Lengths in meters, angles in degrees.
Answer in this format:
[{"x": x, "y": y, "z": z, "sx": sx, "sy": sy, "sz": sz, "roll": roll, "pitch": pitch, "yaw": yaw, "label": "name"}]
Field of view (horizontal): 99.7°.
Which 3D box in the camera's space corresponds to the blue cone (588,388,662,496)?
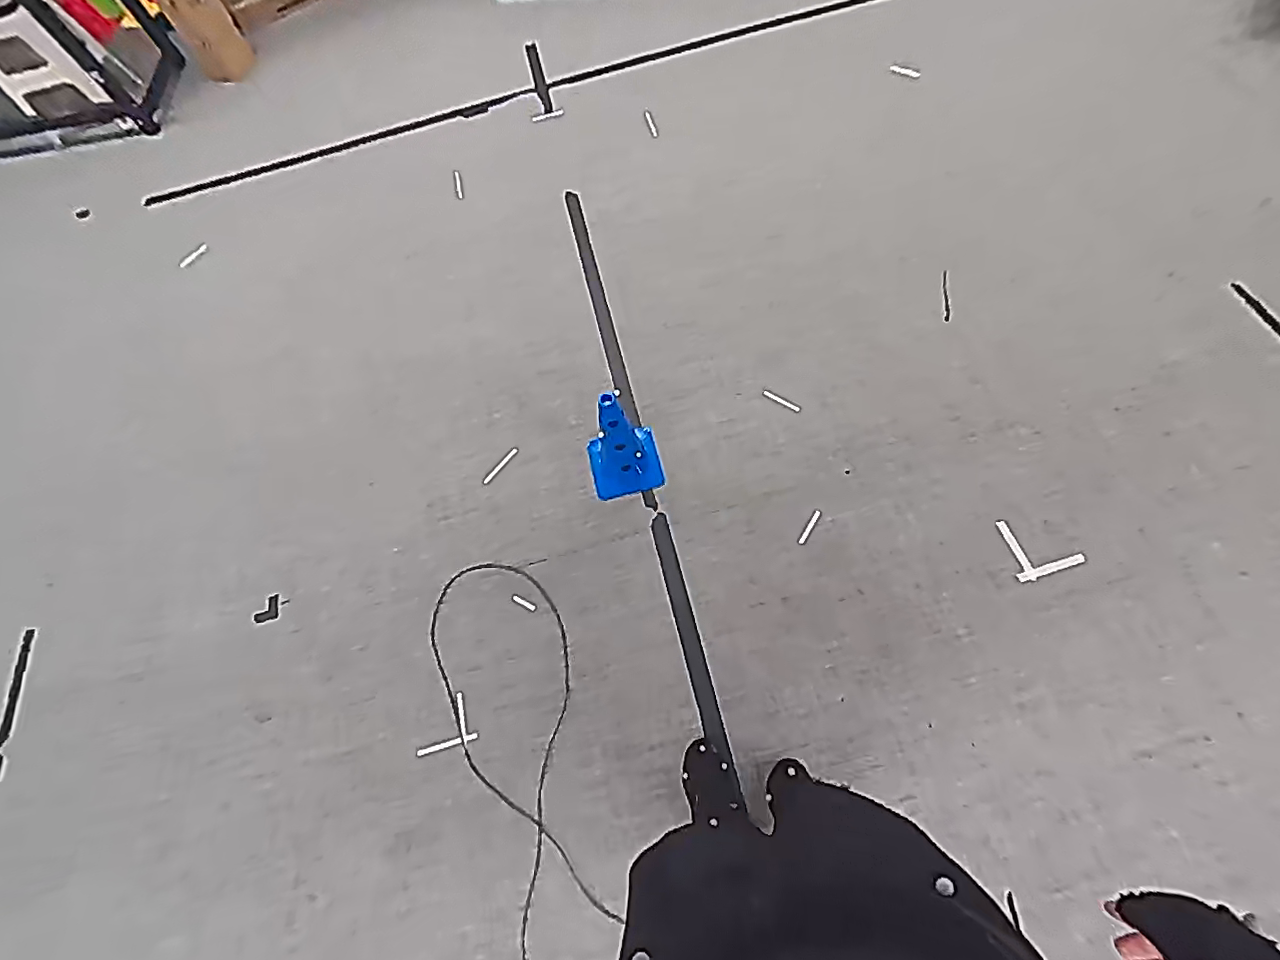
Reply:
[{"x": -0.061, "y": -0.116, "z": 1.401, "sx": 0.193, "sy": 0.380, "sz": 0.192, "roll": -17, "pitch": 66, "yaw": 0, "label": "blue cone"}]
